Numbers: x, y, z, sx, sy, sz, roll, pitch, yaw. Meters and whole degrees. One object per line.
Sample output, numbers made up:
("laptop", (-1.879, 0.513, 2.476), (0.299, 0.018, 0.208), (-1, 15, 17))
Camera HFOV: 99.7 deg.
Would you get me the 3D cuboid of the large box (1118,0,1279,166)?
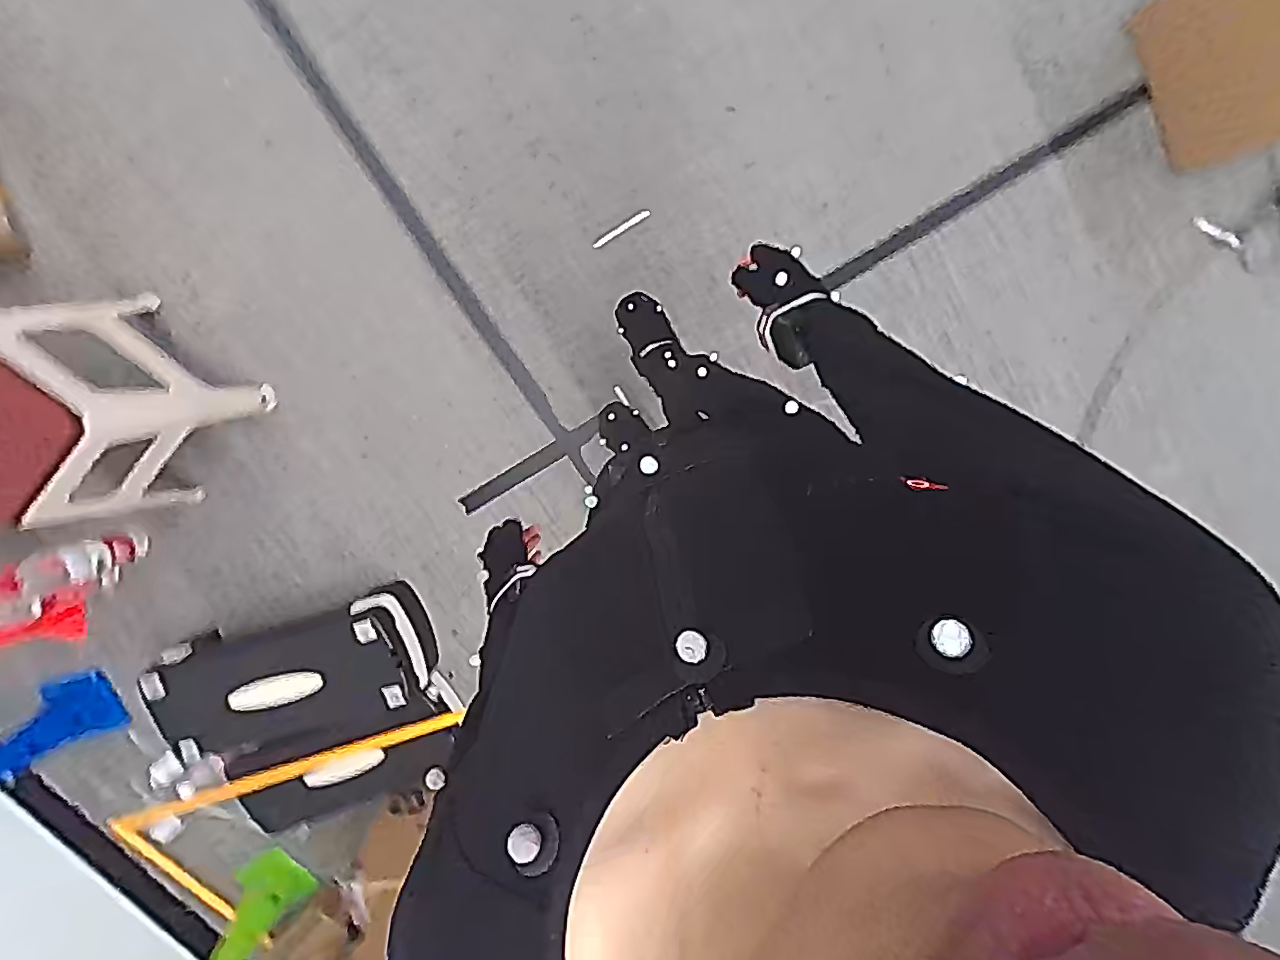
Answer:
("large box", (1.368, -0.996, 1.171), (0.320, 0.320, 0.408), (-32, 104, 5))
